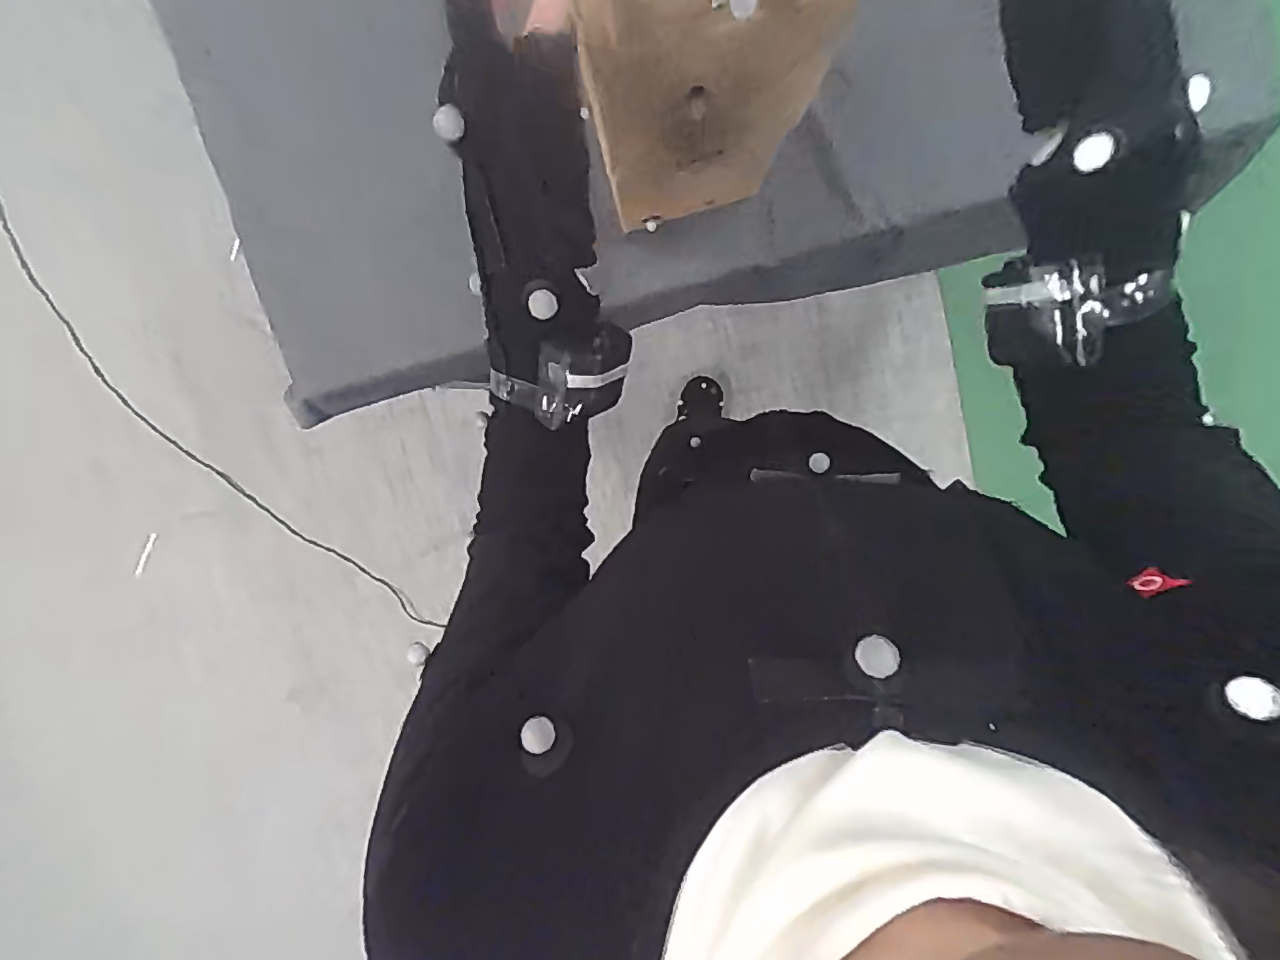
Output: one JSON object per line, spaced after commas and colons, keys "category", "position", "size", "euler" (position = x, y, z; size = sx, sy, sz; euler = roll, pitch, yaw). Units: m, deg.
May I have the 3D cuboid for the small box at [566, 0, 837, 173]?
{"category": "small box", "position": [0.034, -0.366, 0.402], "size": [0.179, 0.176, 0.168], "euler": [-17, 95, 3]}

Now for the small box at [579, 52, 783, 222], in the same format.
{"category": "small box", "position": [0.036, -0.391, 0.561], "size": [0.168, 0.176, 0.179], "euler": [-15, 96, 4]}
